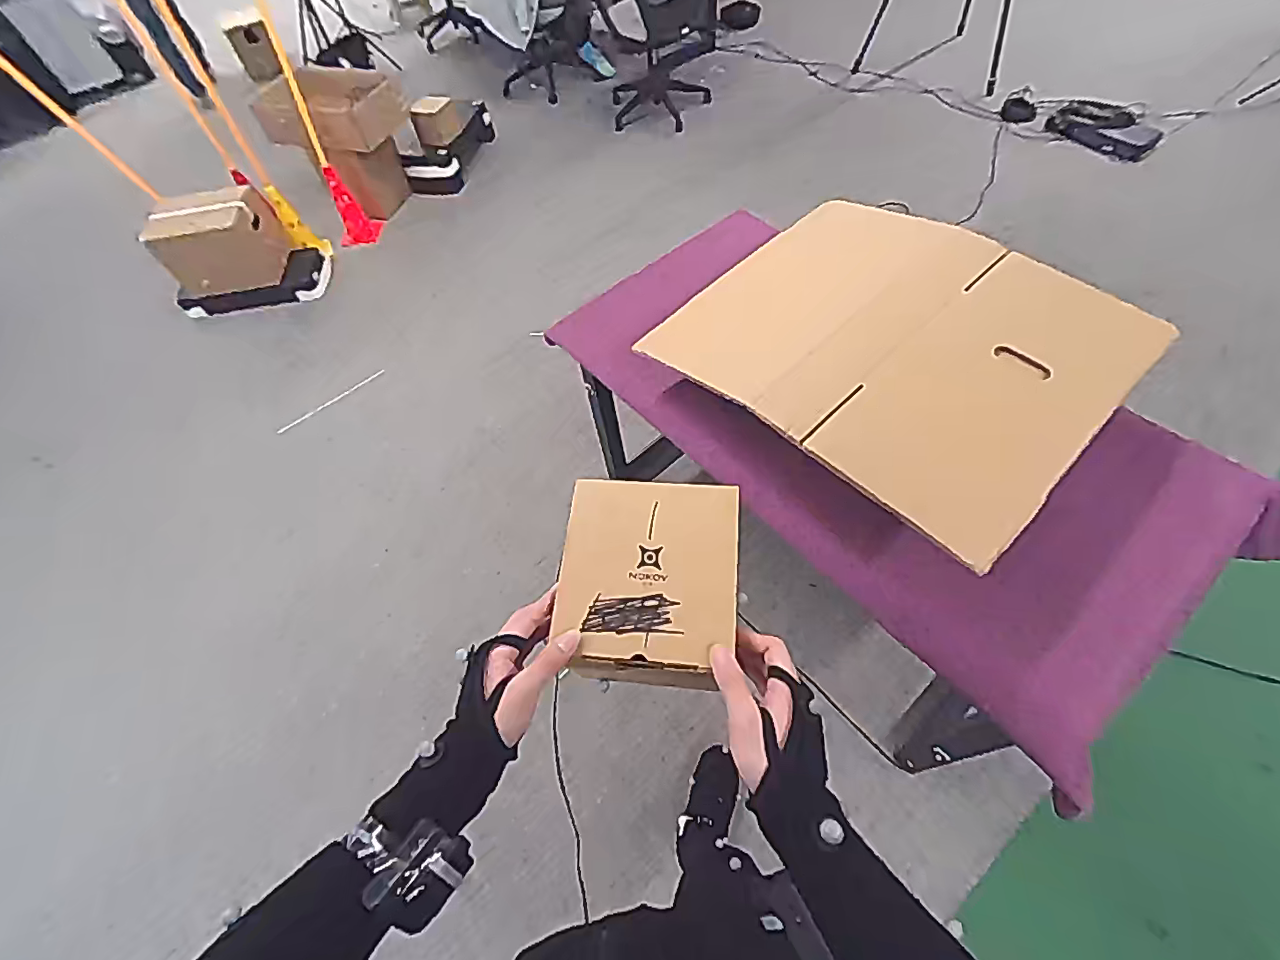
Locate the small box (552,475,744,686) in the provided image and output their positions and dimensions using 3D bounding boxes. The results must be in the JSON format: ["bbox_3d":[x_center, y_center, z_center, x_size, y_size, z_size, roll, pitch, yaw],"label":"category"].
[{"bbox_3d":[0.019,0.113,0.571,0.168,0.176,0.179,4,63,7],"label":"small box"}]
